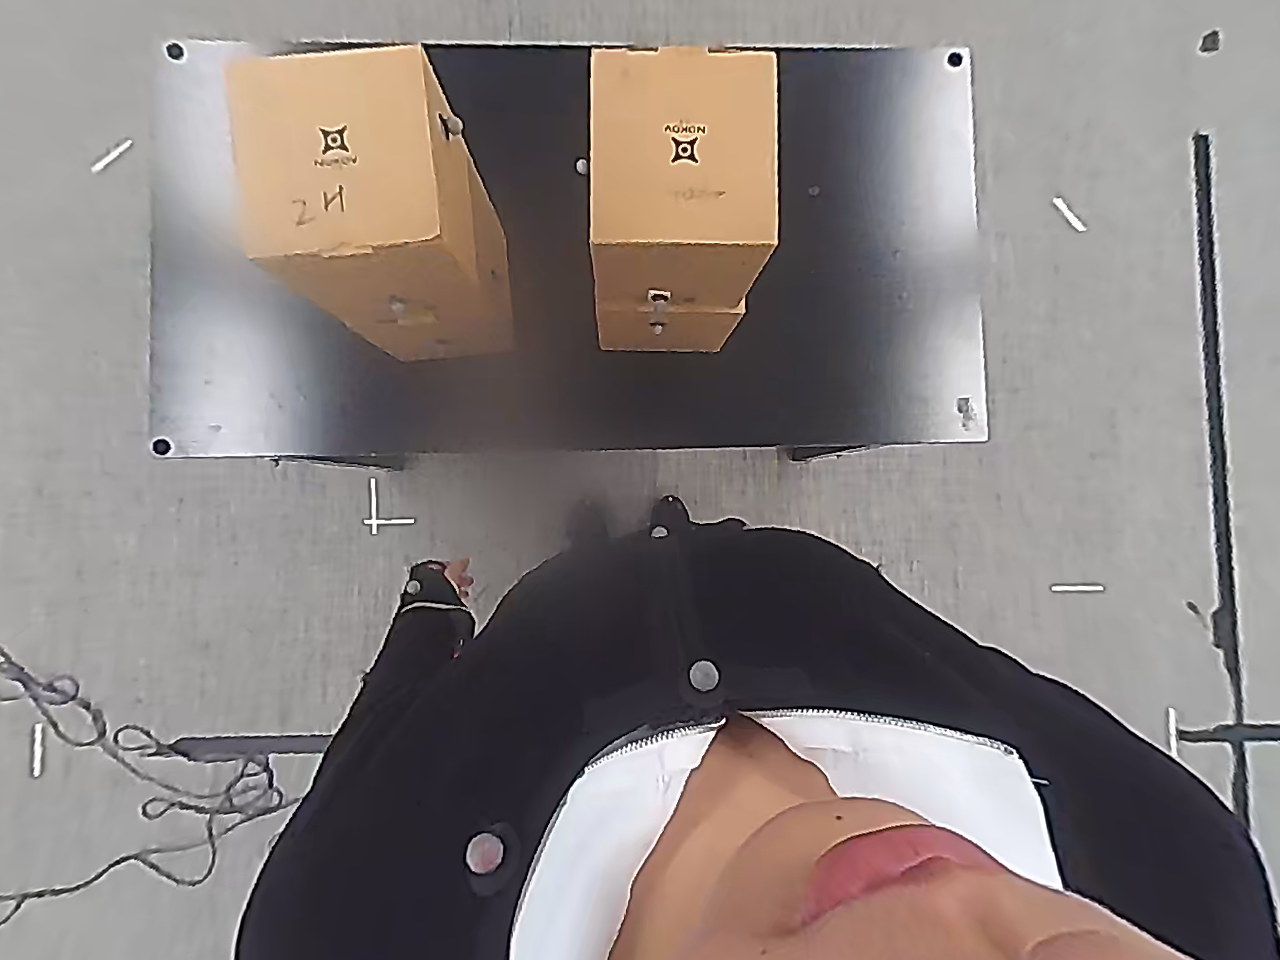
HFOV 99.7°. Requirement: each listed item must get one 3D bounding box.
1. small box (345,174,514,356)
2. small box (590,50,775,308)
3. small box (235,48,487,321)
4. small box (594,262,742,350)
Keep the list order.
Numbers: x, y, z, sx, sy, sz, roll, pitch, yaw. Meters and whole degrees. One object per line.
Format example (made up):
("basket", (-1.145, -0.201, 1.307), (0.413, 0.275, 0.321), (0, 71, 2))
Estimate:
("small box", (-0.267, -0.267, 0.708), (0.168, 0.176, 0.179), (-5, 88, -2))
("small box", (0.035, -0.291, 0.556), (0.168, 0.176, 0.179), (-1, 89, -1))
("small box", (-0.261, -0.278, 0.543), (0.168, 0.176, 0.179), (-7, 88, -2))
("small box", (0.032, -0.276, 0.718), (0.179, 0.176, 0.168), (0, 88, -3))
